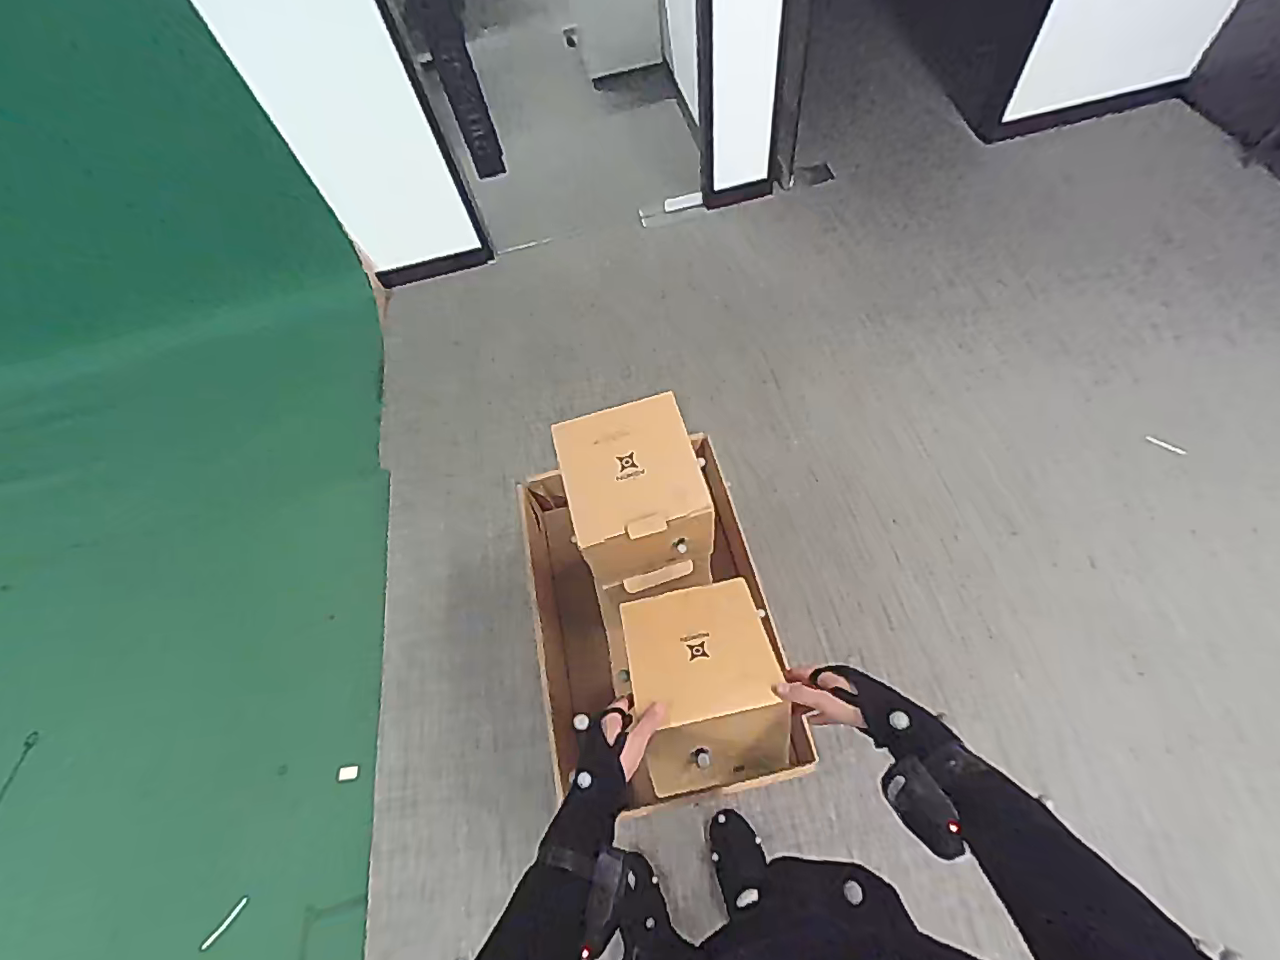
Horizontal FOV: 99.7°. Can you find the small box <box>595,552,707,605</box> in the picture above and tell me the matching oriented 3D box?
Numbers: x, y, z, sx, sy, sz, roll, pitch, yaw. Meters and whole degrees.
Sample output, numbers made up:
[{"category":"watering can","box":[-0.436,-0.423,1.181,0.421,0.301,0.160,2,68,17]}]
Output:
[{"category":"small box","box":[0.007,0.092,0.877,0.168,0.176,0.179,-18,63,-2]}]

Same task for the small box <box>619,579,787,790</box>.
[{"category":"small box","box":[0.076,0.256,0.669,0.168,0.176,0.179,-11,37,-2]}]

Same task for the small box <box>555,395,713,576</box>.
[{"category":"small box","box":[-0.003,0.019,0.731,0.168,0.176,0.179,-15,63,-2]}]
